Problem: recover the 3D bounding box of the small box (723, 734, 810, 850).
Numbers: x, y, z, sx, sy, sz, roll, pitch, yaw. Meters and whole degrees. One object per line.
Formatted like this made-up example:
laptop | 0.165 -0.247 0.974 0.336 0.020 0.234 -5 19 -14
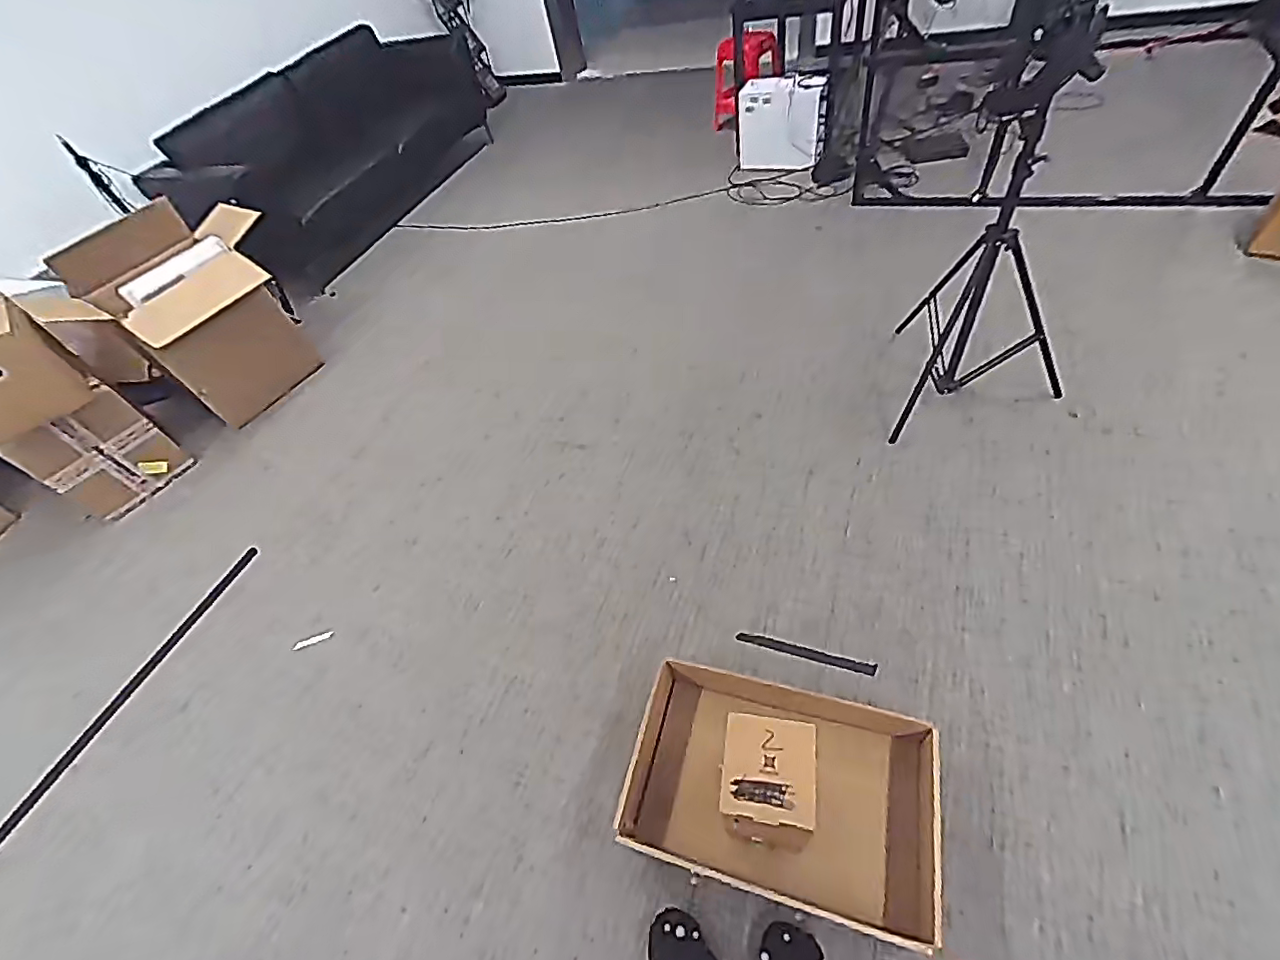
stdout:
small box | 0.274 0.678 1.172 0.168 0.176 0.179 3 53 16
